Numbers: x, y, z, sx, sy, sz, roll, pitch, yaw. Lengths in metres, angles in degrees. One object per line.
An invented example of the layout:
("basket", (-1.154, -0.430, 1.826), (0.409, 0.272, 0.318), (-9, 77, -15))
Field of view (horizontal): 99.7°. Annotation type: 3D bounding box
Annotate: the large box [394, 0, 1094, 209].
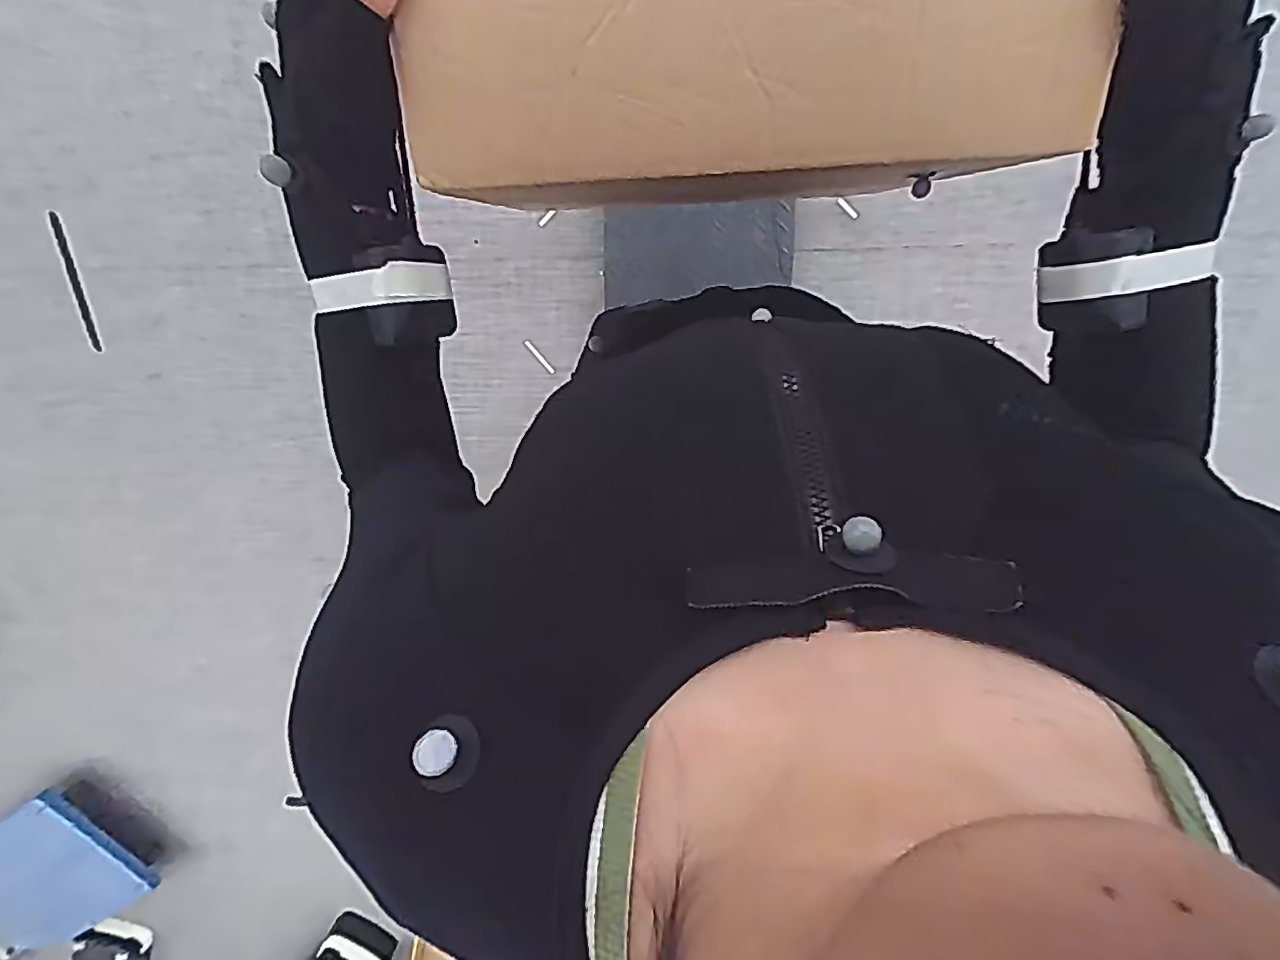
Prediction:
("large box", (0.058, -0.395, 0.414), (0.408, 0.320, 0.320), (-3, 114, 2))
